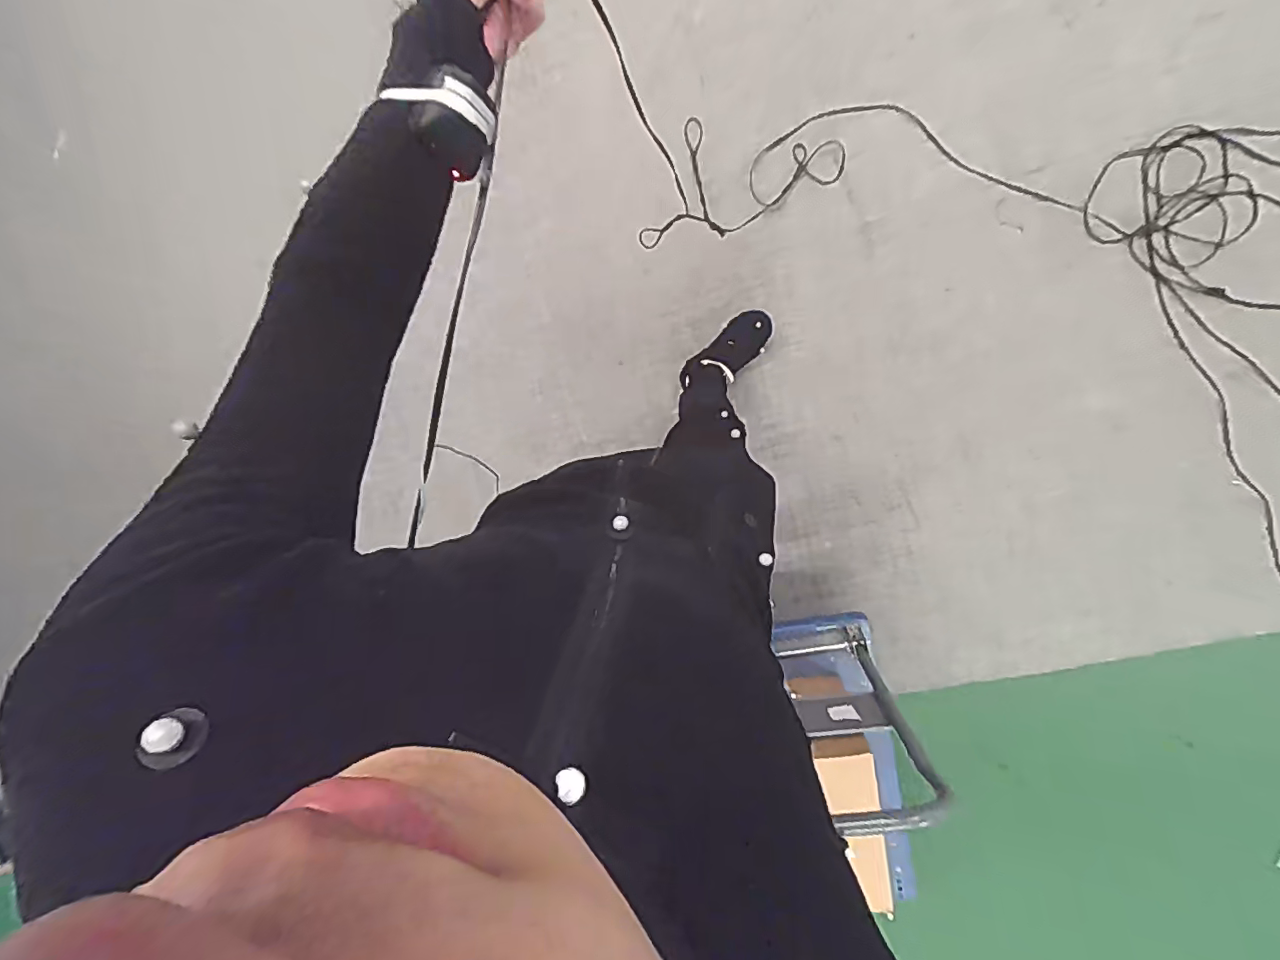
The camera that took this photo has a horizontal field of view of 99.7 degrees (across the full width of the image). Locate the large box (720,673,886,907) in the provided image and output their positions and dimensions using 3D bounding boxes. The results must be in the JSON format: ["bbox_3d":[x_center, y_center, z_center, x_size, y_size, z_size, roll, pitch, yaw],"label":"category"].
[{"bbox_3d":[0.390,0.759,1.362,0.320,0.320,0.408,-9,100,9],"label":"large box"}]
